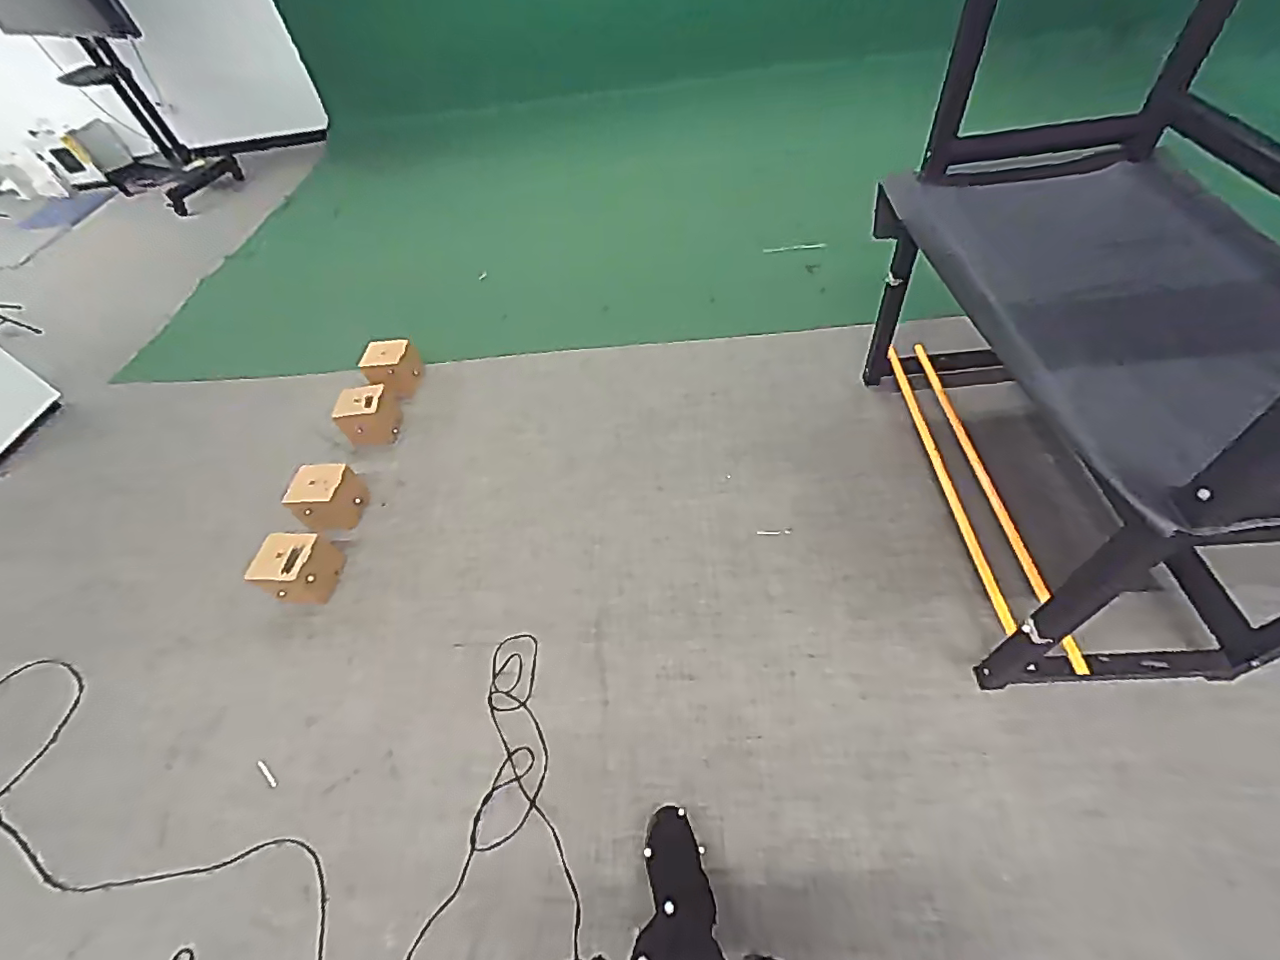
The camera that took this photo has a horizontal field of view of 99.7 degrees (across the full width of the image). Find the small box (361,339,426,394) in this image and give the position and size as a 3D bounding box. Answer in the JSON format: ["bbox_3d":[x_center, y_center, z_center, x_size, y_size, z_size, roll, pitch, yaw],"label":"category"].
[{"bbox_3d":[-1.061,-0.487,2.337,0.179,0.176,0.168,-4,52,5],"label":"small box"}]

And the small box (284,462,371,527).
[{"bbox_3d":[-1.089,0.054,1.900,0.179,0.176,0.168,-2,52,6],"label":"small box"}]

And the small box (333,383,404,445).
[{"bbox_3d":[-1.072,-0.259,2.153,0.179,0.176,0.168,-7,50,4],"label":"small box"}]
